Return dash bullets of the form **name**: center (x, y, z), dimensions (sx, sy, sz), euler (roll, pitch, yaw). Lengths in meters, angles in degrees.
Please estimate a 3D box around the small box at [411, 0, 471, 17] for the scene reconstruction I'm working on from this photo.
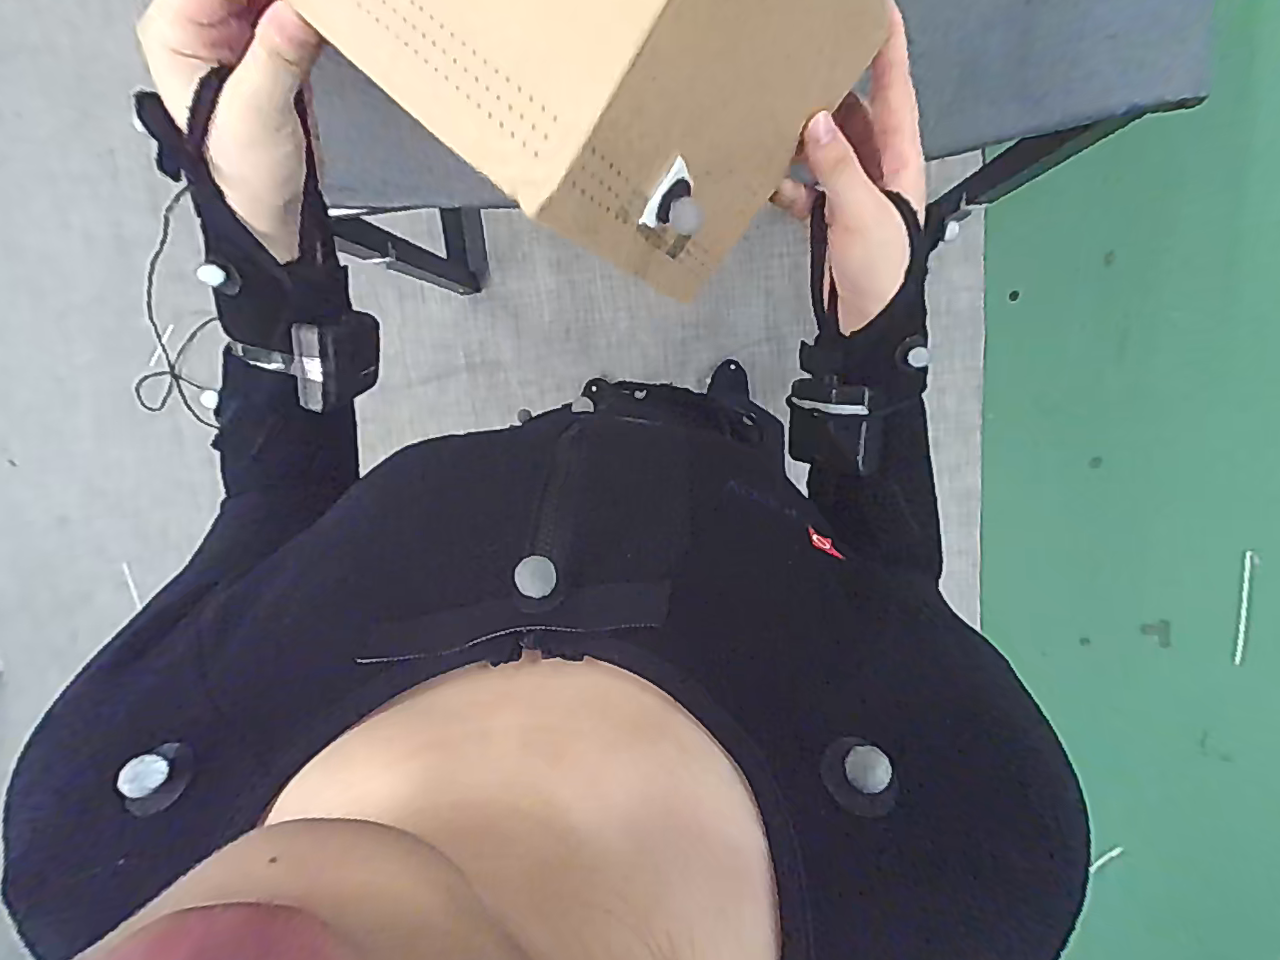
- **small box**: center (-0.186, -0.519, 0.416), dimensions (0.168, 0.176, 0.179), euler (-40, 94, 11)

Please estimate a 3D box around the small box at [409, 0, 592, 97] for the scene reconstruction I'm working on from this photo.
- **small box**: center (-0.168, -0.555, 0.574), dimensions (0.168, 0.176, 0.179), euler (-29, 96, 9)
